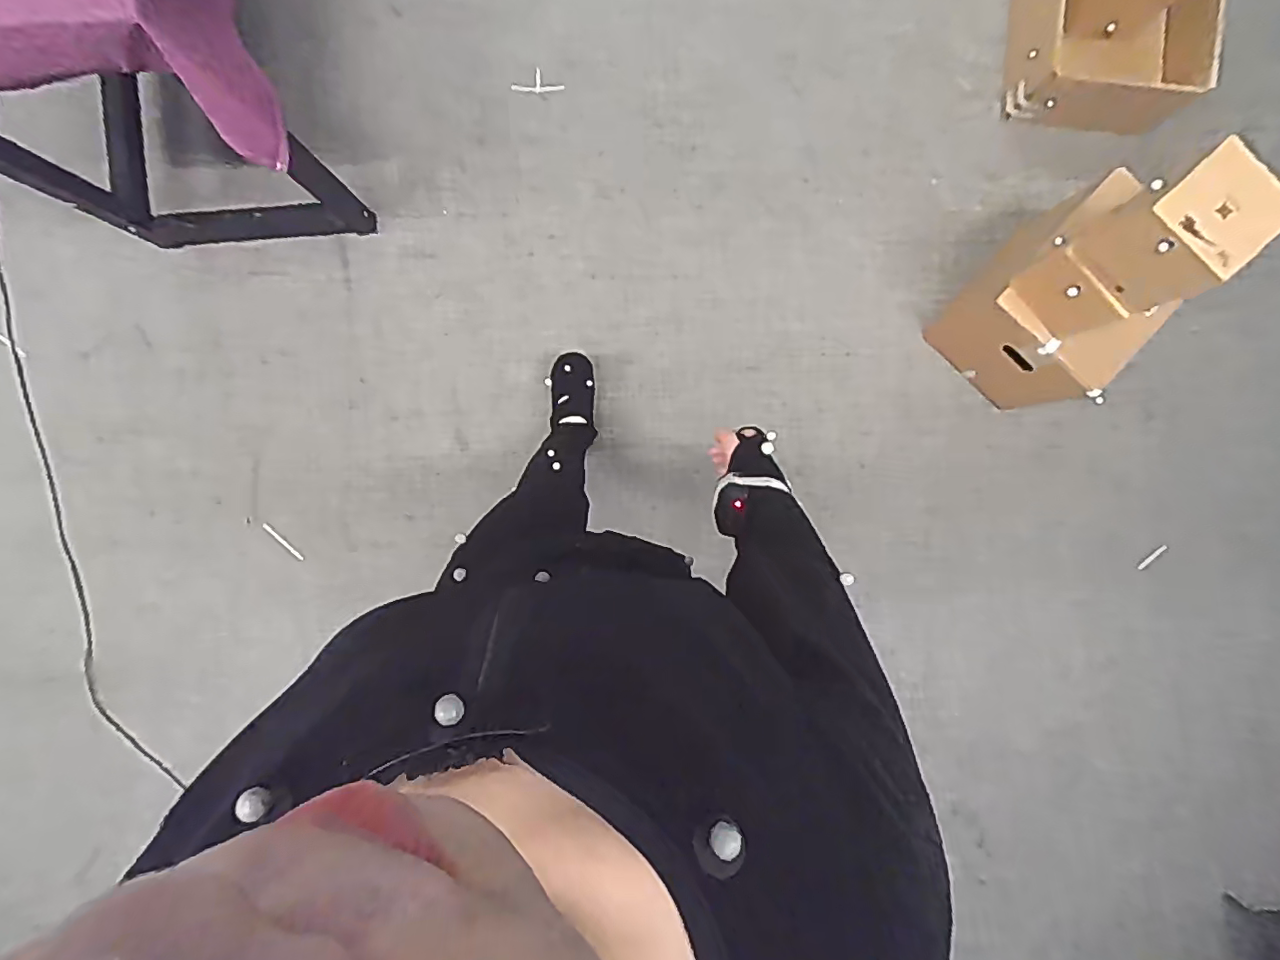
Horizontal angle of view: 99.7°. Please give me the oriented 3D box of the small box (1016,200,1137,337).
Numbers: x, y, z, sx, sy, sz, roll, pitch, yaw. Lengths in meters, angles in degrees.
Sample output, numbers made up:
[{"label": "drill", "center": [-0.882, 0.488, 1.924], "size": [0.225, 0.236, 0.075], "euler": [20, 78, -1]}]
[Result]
[{"label": "small box", "center": [0.927, -0.412, 1.096], "size": [0.168, 0.176, 0.179], "euler": [-38, 88, 1]}]

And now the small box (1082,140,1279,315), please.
[{"label": "small box", "center": [0.934, -0.421, 0.931], "size": [0.179, 0.176, 0.168], "euler": [-42, 88, 0]}]

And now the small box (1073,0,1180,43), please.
[{"label": "small box", "center": [1.219, -1.241, 1.337], "size": [0.168, 0.176, 0.179], "euler": [5, 91, 0]}]
